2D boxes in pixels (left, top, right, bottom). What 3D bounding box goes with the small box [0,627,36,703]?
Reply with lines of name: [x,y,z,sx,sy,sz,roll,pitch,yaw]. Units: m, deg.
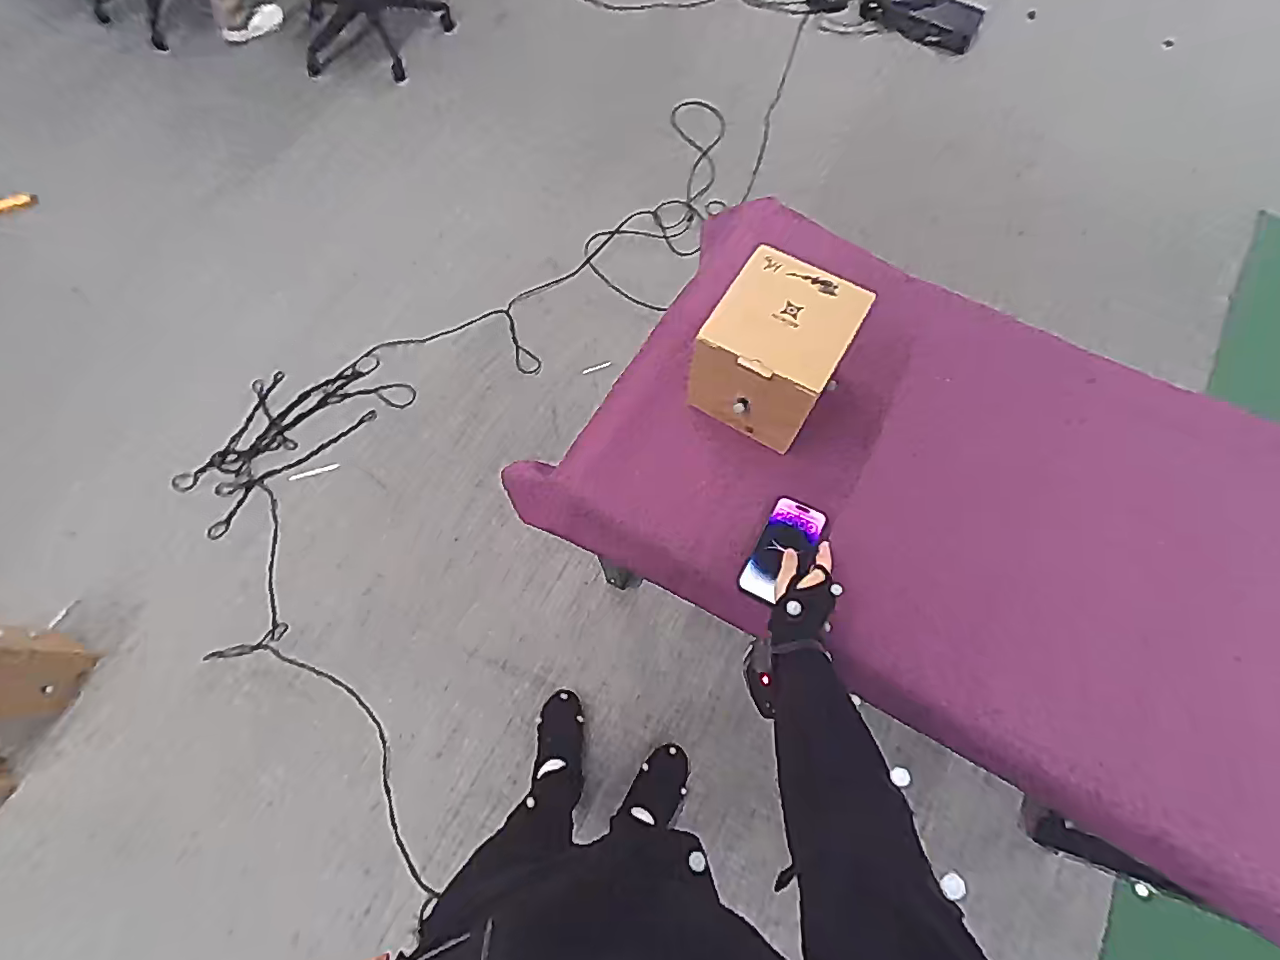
small box: [-1.479,0.403,1.150,0.168,0.176,0.179,17,70,7]

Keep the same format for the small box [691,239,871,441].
small box: [0.181,-0.182,0.744,0.168,0.176,0.179,30,73,12]

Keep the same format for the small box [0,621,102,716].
small box: [-1.484,0.451,1.306,0.179,0.176,0.168,20,70,9]
